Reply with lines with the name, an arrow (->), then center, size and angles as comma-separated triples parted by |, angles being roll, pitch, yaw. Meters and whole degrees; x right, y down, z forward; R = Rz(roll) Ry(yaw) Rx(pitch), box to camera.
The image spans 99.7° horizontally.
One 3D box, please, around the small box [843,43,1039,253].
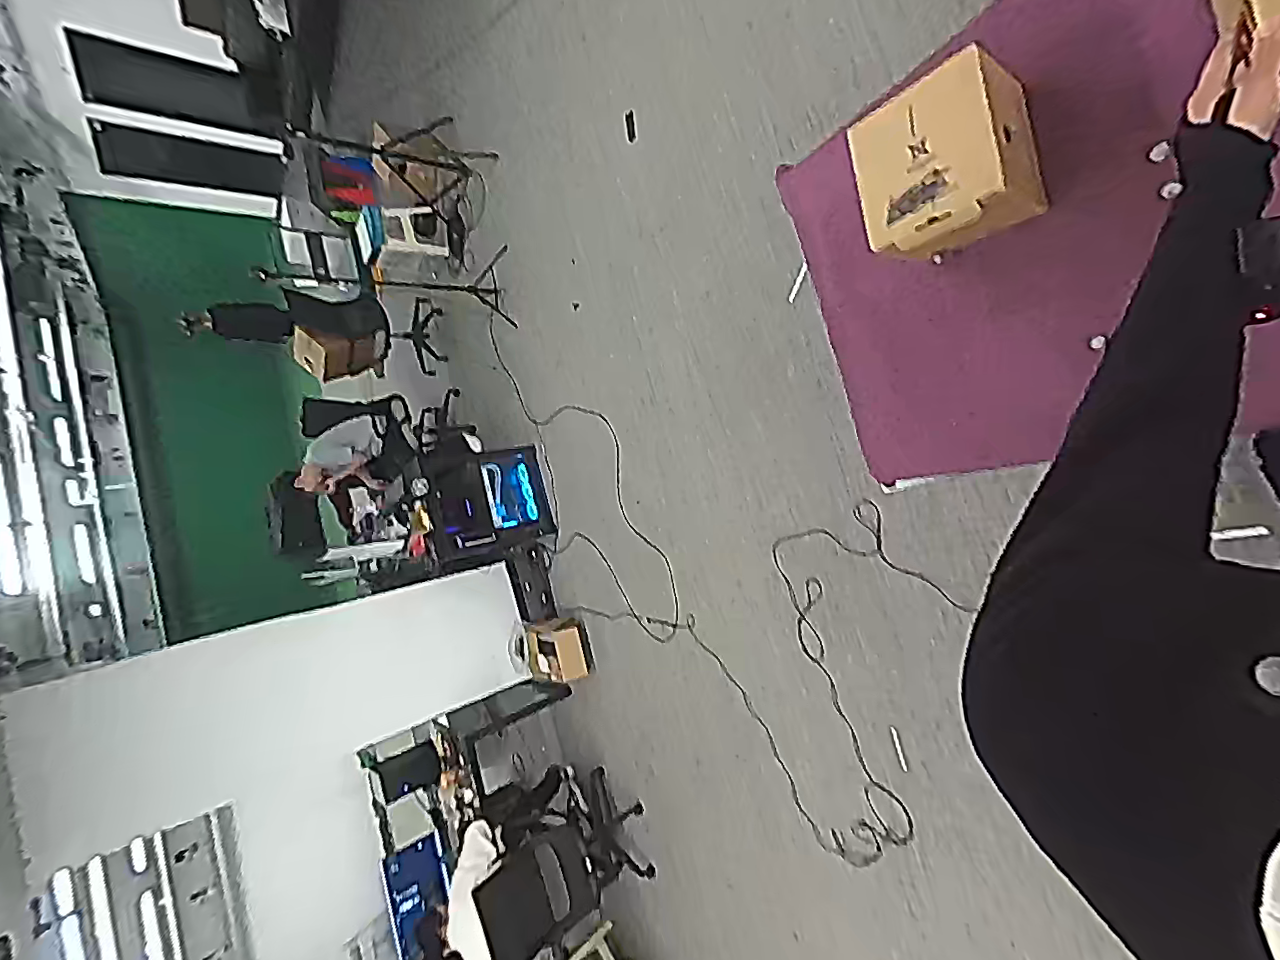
small box -> 0.408, -0.423, 0.731 | 0.168, 0.176, 0.179 | -12, 90, 51
